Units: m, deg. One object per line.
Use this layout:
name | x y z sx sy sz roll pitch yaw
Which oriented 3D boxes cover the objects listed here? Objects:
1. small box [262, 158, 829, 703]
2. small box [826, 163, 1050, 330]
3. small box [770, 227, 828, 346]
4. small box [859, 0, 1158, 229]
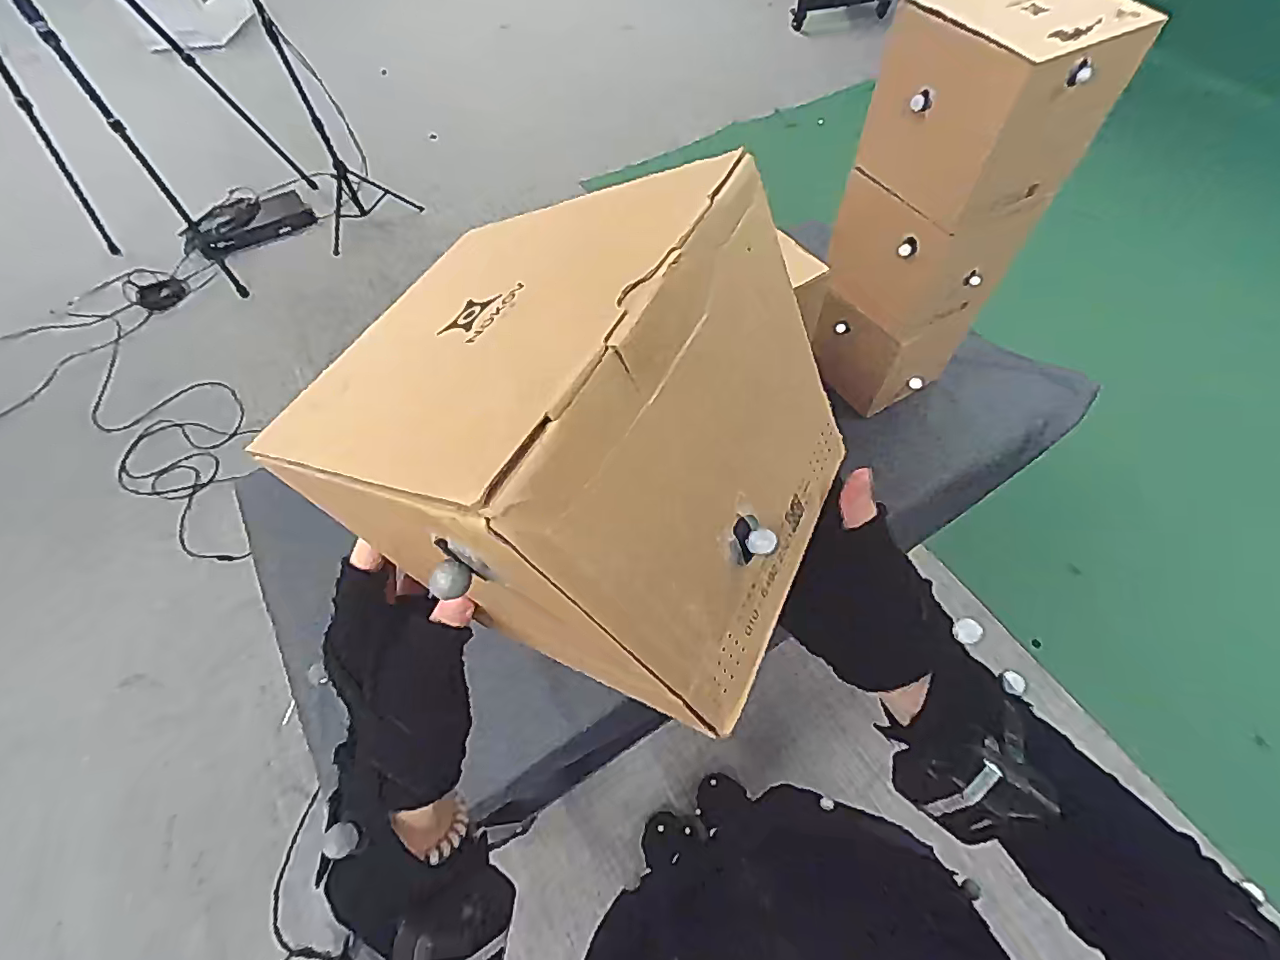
small box | -0.028 -0.016 0.270 0.179 0.176 0.168 8 56 38
small box | 0.384 -0.329 0.736 0.168 0.176 0.179 -26 60 -13
small box | 0.096 -0.201 0.674 0.179 0.176 0.168 -30 61 -15
small box | 0.376 -0.413 0.595 0.168 0.176 0.179 -25 60 -11
